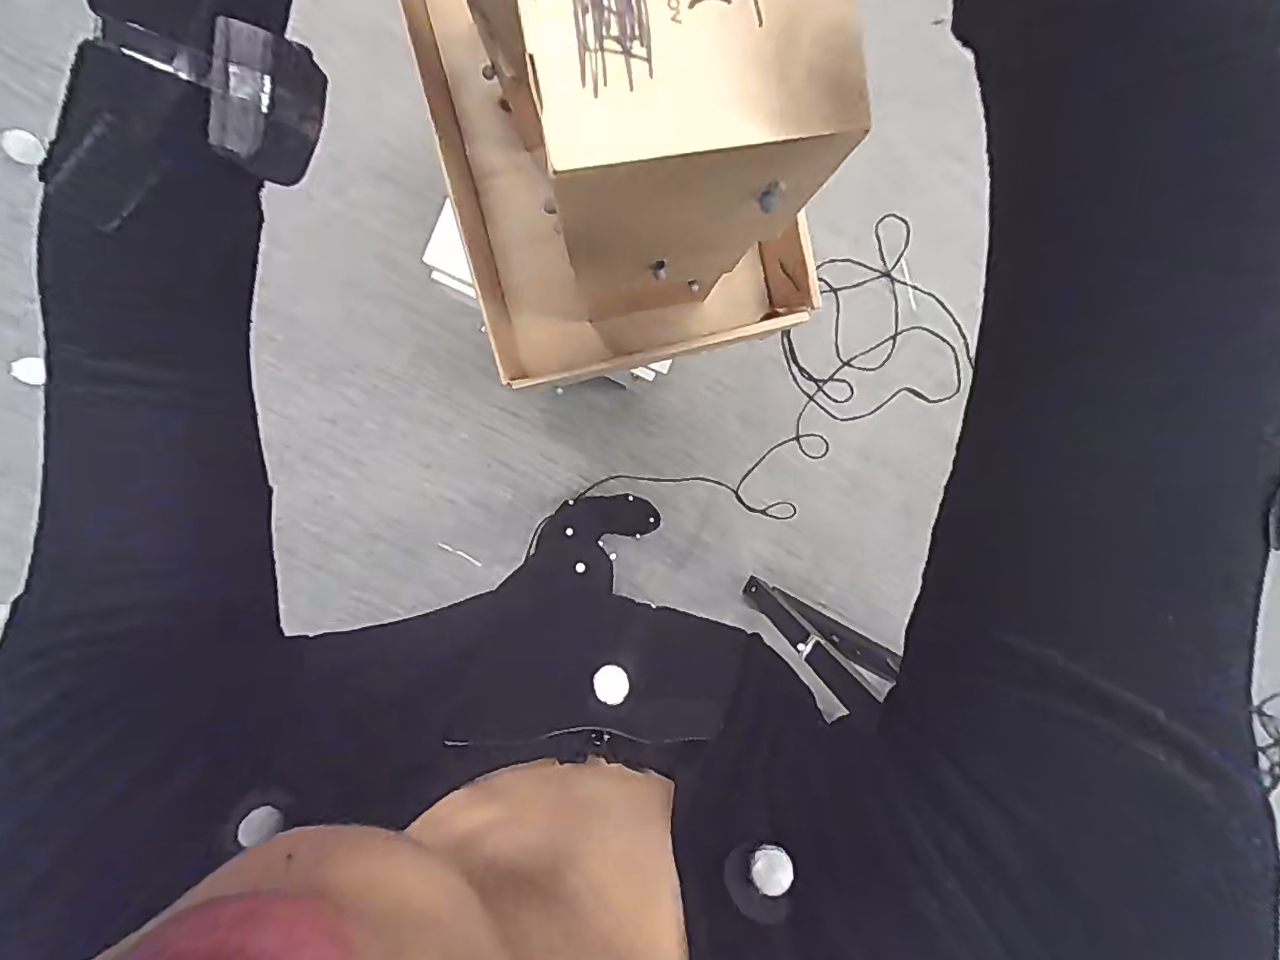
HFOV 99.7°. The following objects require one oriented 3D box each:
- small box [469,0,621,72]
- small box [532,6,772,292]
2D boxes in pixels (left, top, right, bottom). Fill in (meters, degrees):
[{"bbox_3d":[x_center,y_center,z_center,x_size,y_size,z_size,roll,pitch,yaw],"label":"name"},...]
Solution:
[{"bbox_3d":[-0.099,-0.537,0.489,0.179,0.176,0.168,-39,97,3],"label":"small box"},{"bbox_3d":[0.007,-0.297,0.523,0.179,0.176,0.168,-12,96,-2],"label":"small box"}]
